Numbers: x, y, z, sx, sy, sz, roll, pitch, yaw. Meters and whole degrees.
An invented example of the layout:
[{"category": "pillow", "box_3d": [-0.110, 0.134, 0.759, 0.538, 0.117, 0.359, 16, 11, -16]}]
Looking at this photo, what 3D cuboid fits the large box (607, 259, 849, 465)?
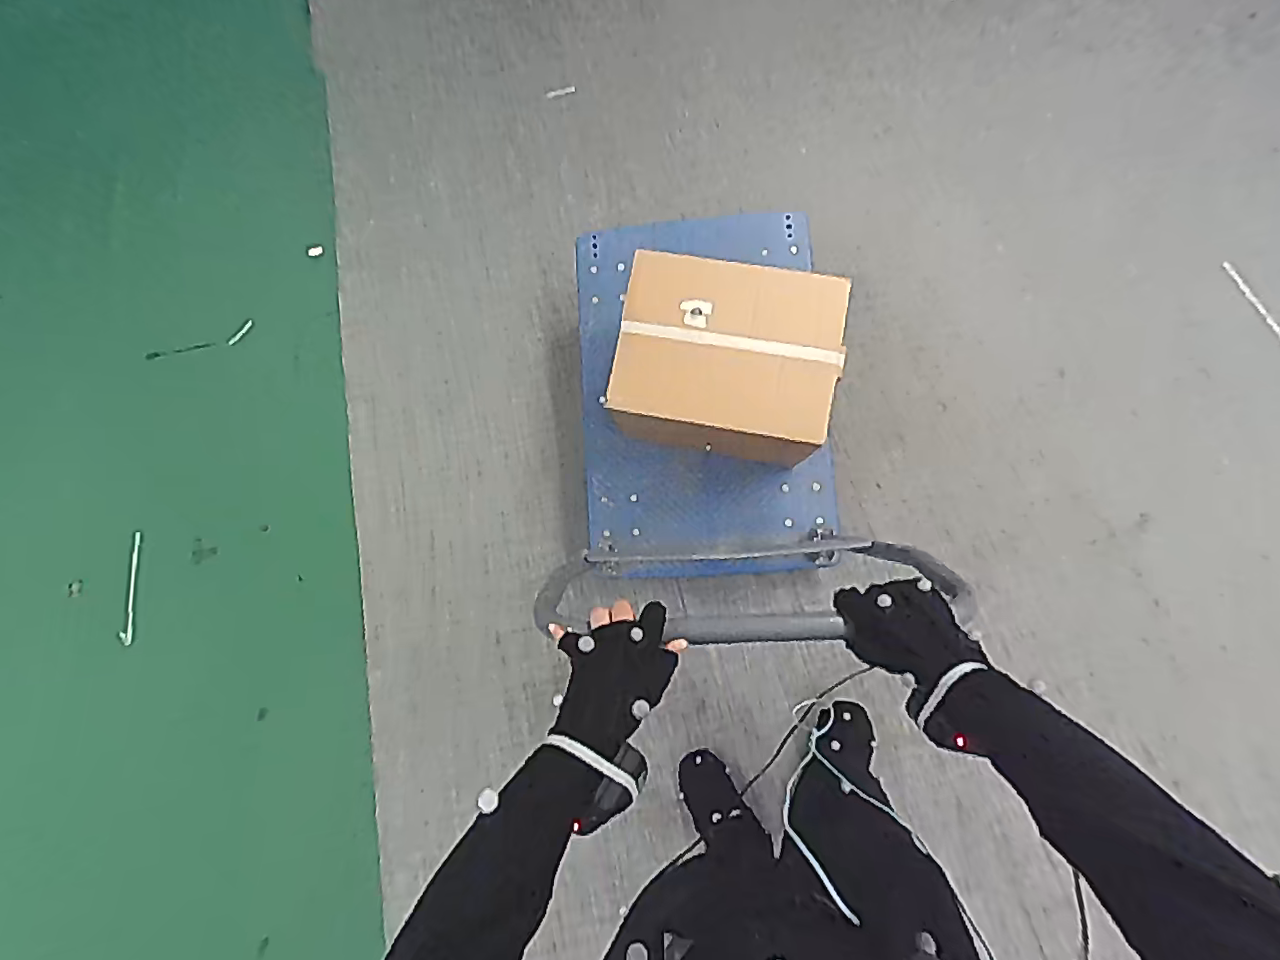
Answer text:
[{"category": "large box", "box_3d": [0.177, -0.224, 1.136, 0.408, 0.320, 0.320, 11, 85, 7]}]
